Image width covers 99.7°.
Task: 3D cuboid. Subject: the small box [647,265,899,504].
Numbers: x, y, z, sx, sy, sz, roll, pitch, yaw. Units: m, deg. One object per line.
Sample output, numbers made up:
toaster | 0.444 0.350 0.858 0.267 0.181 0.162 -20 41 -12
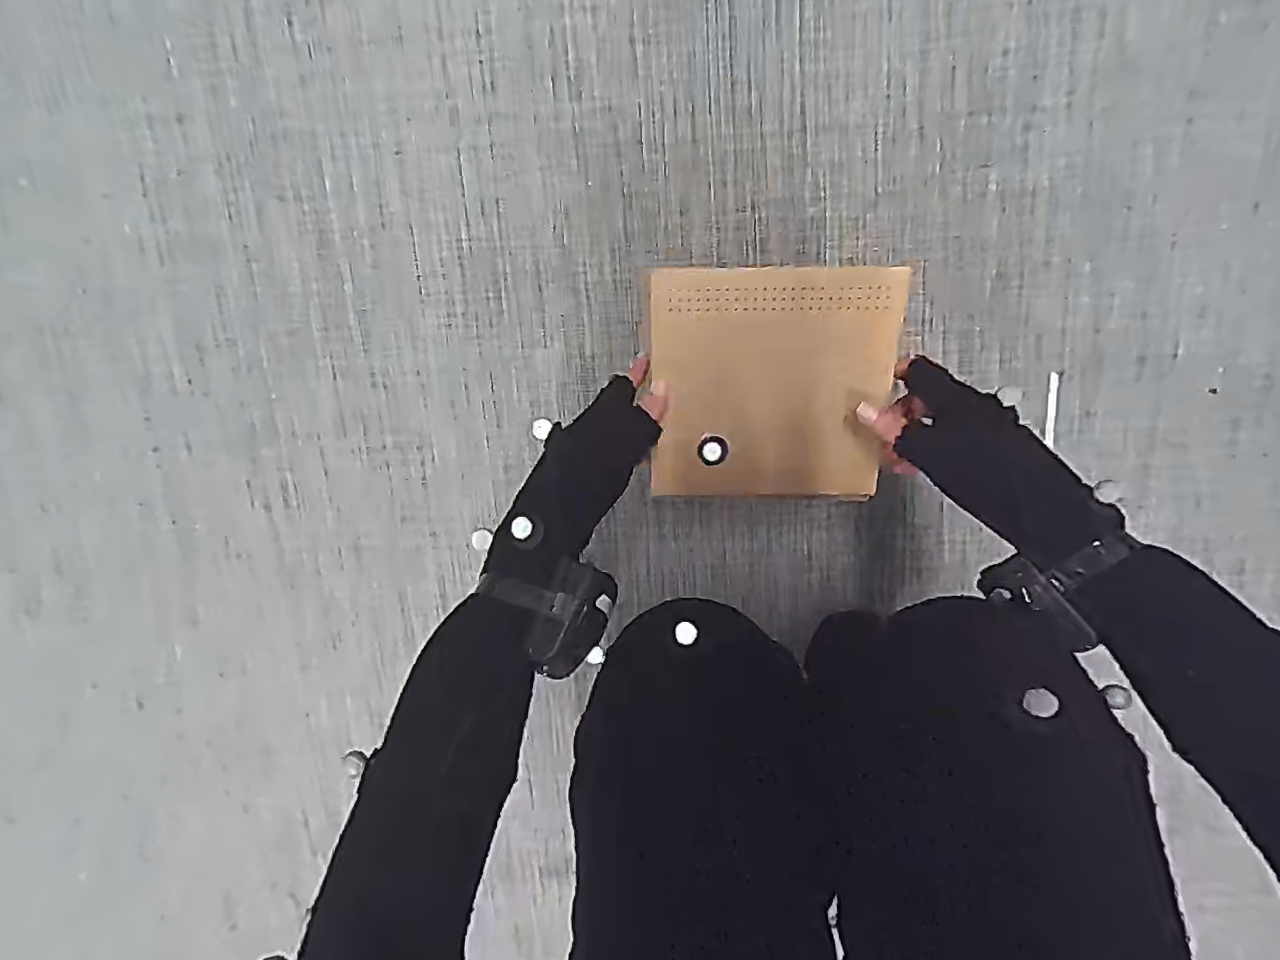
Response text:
small box | 0.094 -0.086 0.464 0.179 0.168 0.176 -1 108 1
